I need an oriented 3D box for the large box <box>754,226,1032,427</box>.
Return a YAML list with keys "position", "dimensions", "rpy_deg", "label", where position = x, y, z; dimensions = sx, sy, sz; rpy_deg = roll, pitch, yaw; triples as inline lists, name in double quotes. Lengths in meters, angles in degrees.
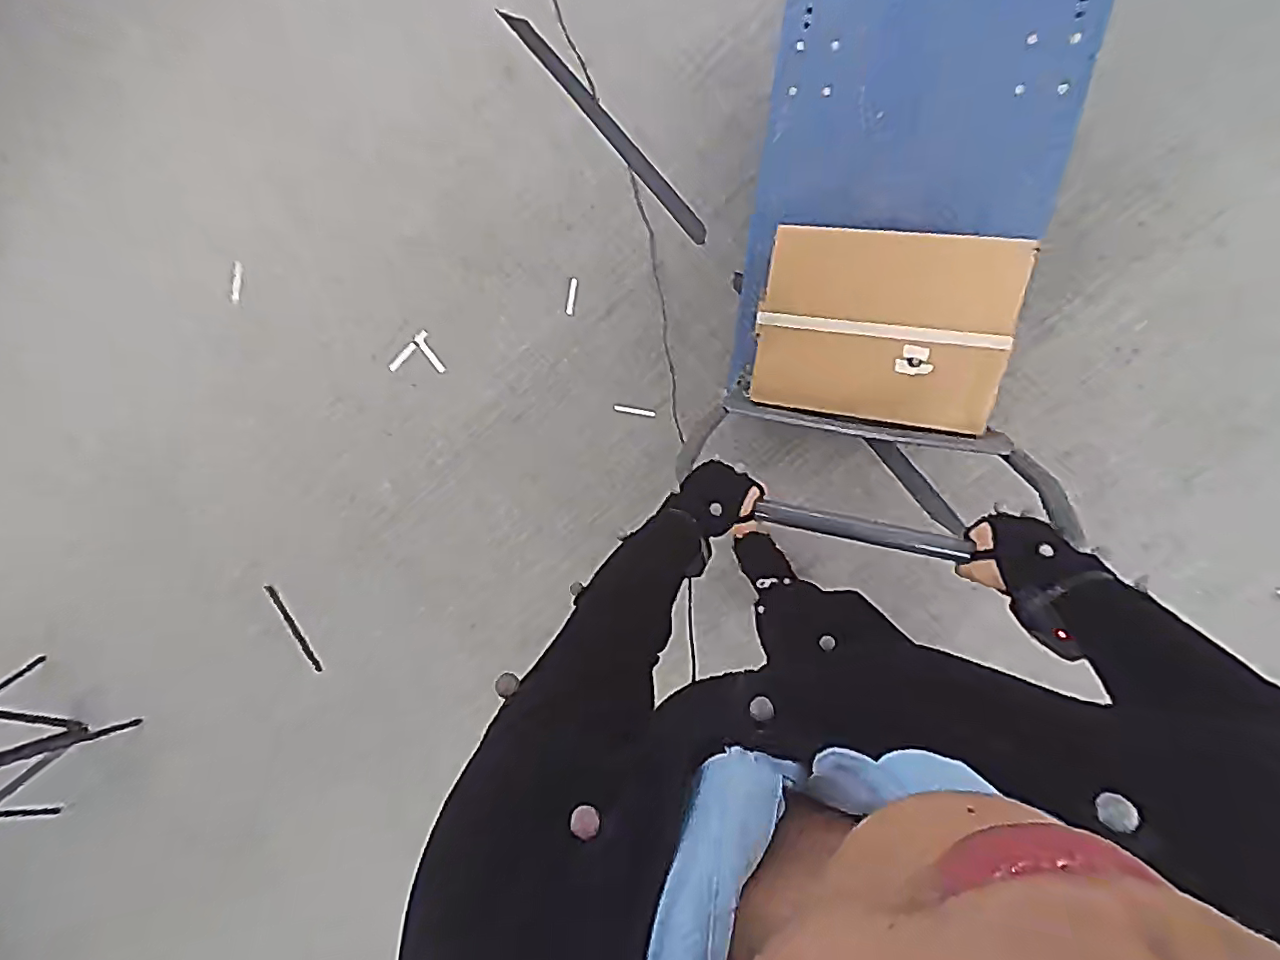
- position: [0.464, -0.305, 1.087]
  dimensions: [0.408, 0.320, 0.320]
  rpy_deg: [11, 108, 15]
  label: "large box"
